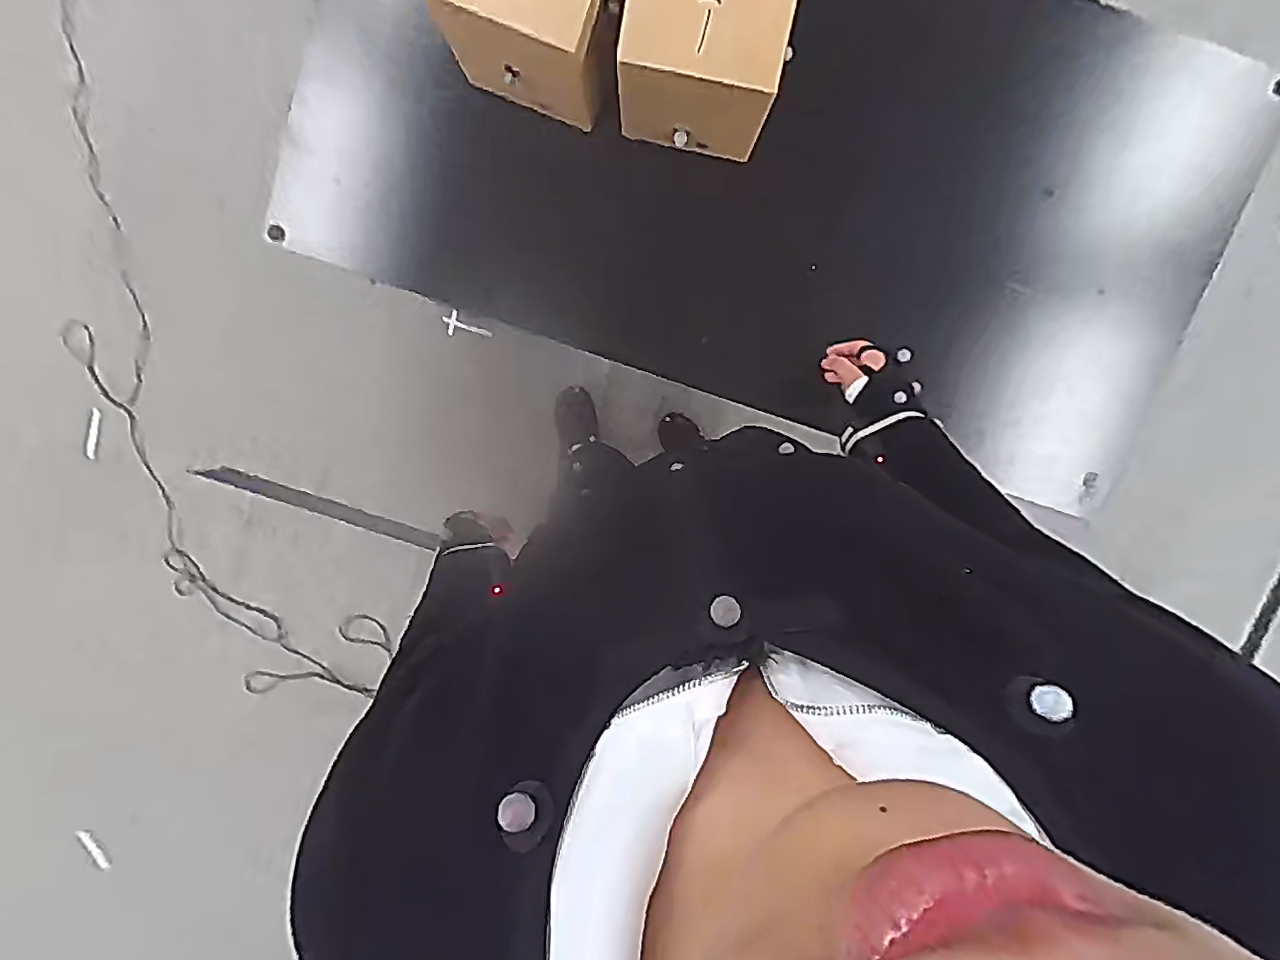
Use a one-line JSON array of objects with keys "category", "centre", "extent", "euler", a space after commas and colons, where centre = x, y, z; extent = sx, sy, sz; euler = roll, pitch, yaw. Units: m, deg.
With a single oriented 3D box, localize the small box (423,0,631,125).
[{"category": "small box", "centre": [-0.111, -0.541, 0.599], "extent": [0.168, 0.176, 0.179], "euler": [20, 98, -3]}]
